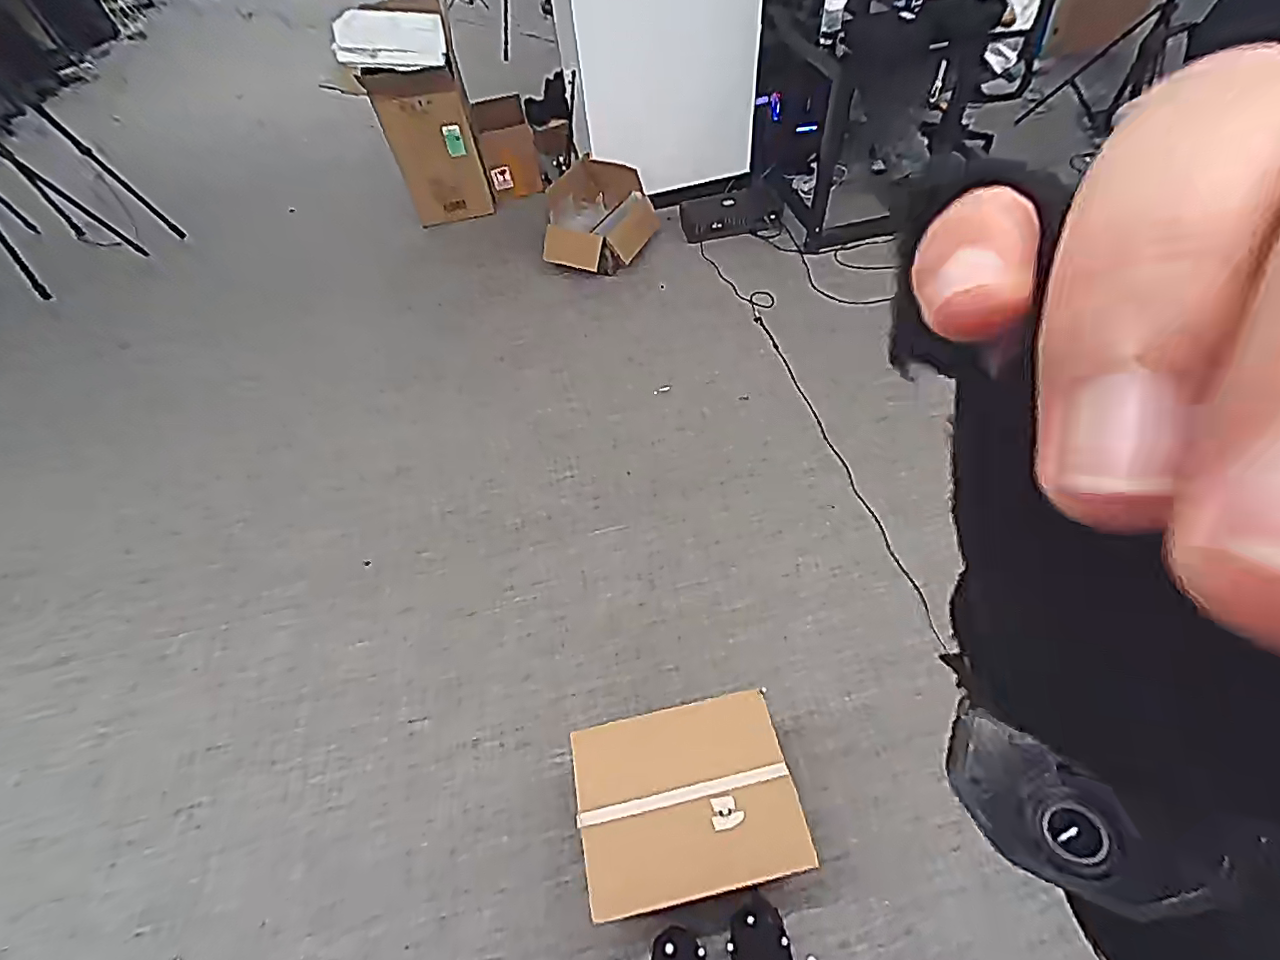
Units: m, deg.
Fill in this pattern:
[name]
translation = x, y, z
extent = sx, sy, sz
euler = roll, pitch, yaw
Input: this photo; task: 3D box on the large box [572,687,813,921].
[large box]
translation = 0.094, 0.684, 1.147
extent = 0.408, 0.320, 0.320
euler = -12, 54, -4
